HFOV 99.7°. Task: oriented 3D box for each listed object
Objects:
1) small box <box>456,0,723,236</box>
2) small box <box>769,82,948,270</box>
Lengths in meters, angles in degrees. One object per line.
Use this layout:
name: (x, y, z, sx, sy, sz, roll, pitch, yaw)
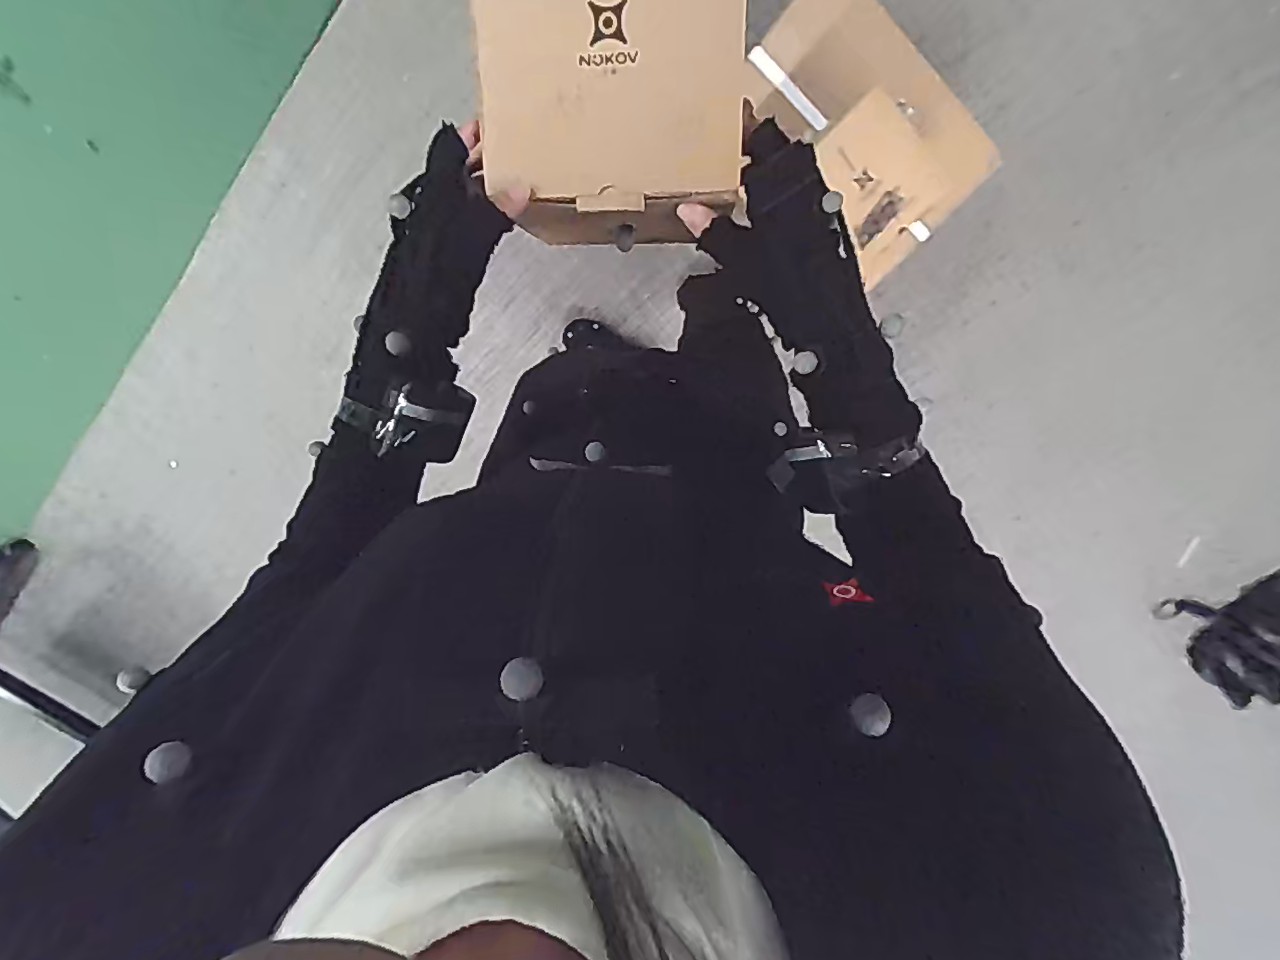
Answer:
small box: (-0.023, -0.288, 0.407, 0.168, 0.176, 0.179, 0, 106, 6)
small box: (0.320, -0.454, 0.827, 0.179, 0.176, 0.168, 43, 113, -14)
